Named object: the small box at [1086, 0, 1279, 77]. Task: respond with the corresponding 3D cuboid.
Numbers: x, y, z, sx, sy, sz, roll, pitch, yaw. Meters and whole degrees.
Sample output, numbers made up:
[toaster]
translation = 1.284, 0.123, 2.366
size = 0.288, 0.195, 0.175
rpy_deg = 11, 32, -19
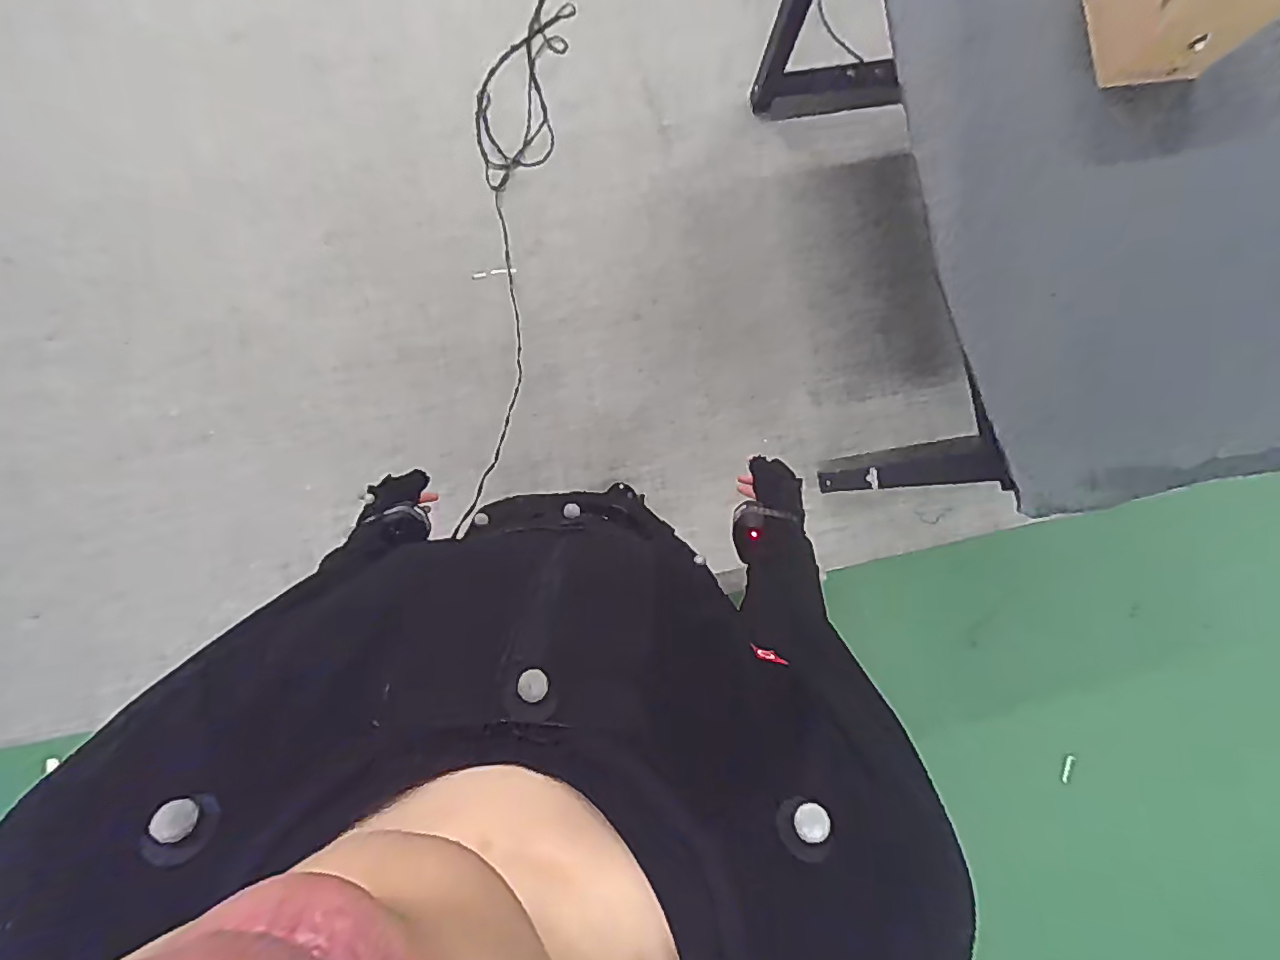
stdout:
[small box]
translation = 0.776, -0.705, 0.757
size = 0.168, 0.176, 0.179
rpy_deg = -8, 88, -4
